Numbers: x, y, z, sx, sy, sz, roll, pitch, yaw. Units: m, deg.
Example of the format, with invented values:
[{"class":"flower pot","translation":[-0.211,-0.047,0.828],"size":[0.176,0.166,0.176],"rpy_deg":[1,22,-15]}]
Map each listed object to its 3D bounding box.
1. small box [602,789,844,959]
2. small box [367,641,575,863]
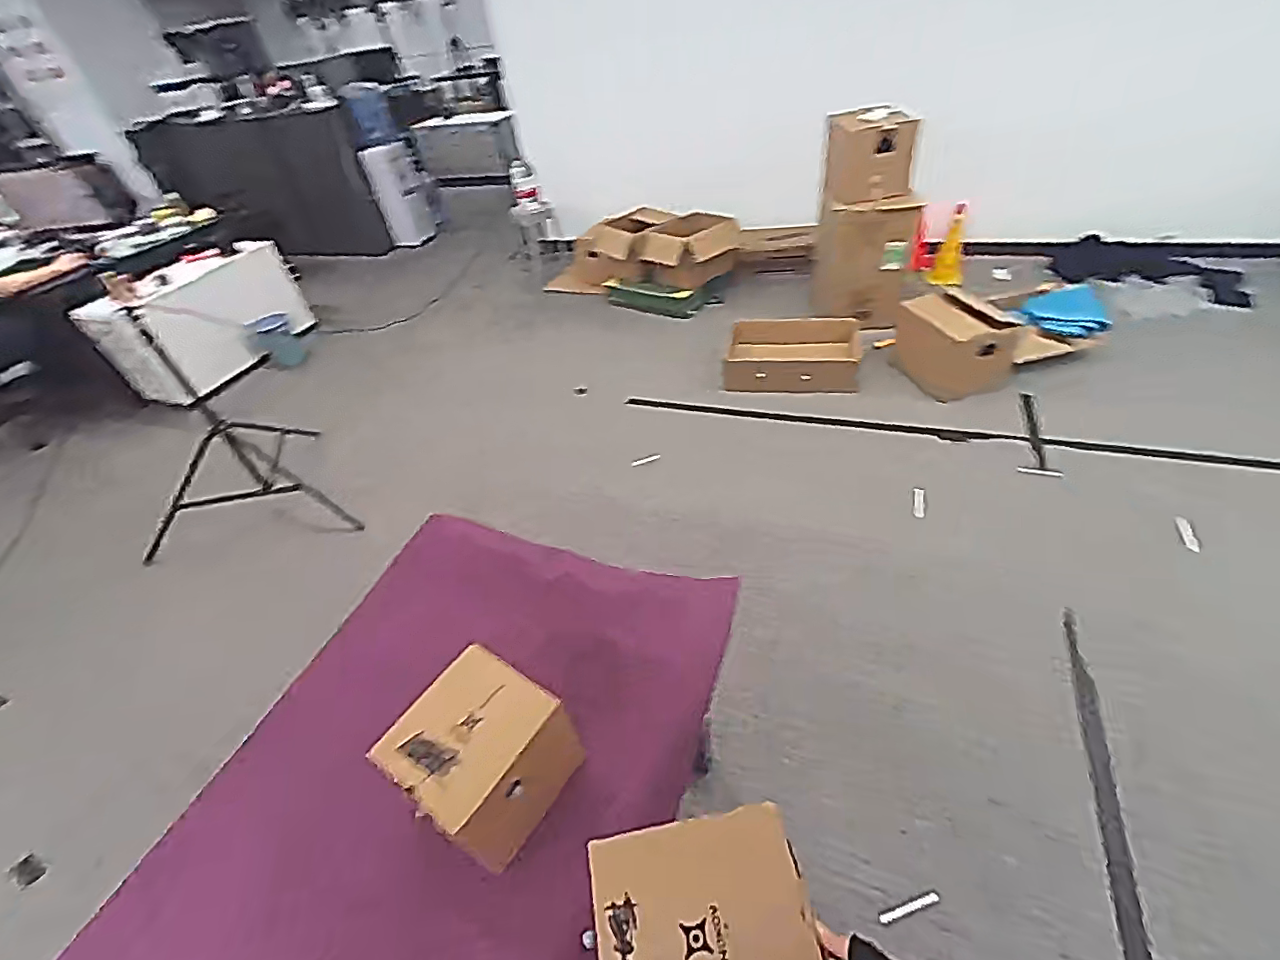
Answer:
[{"class":"small box","translation":[0.067,0.401,0.486],"size":[0.179,0.176,0.168],"rpy_deg":[-10,47,-3]},{"class":"small box","translation":[-0.208,0.357,0.714],"size":[0.168,0.176,0.179],"rpy_deg":[20,49,30]}]
